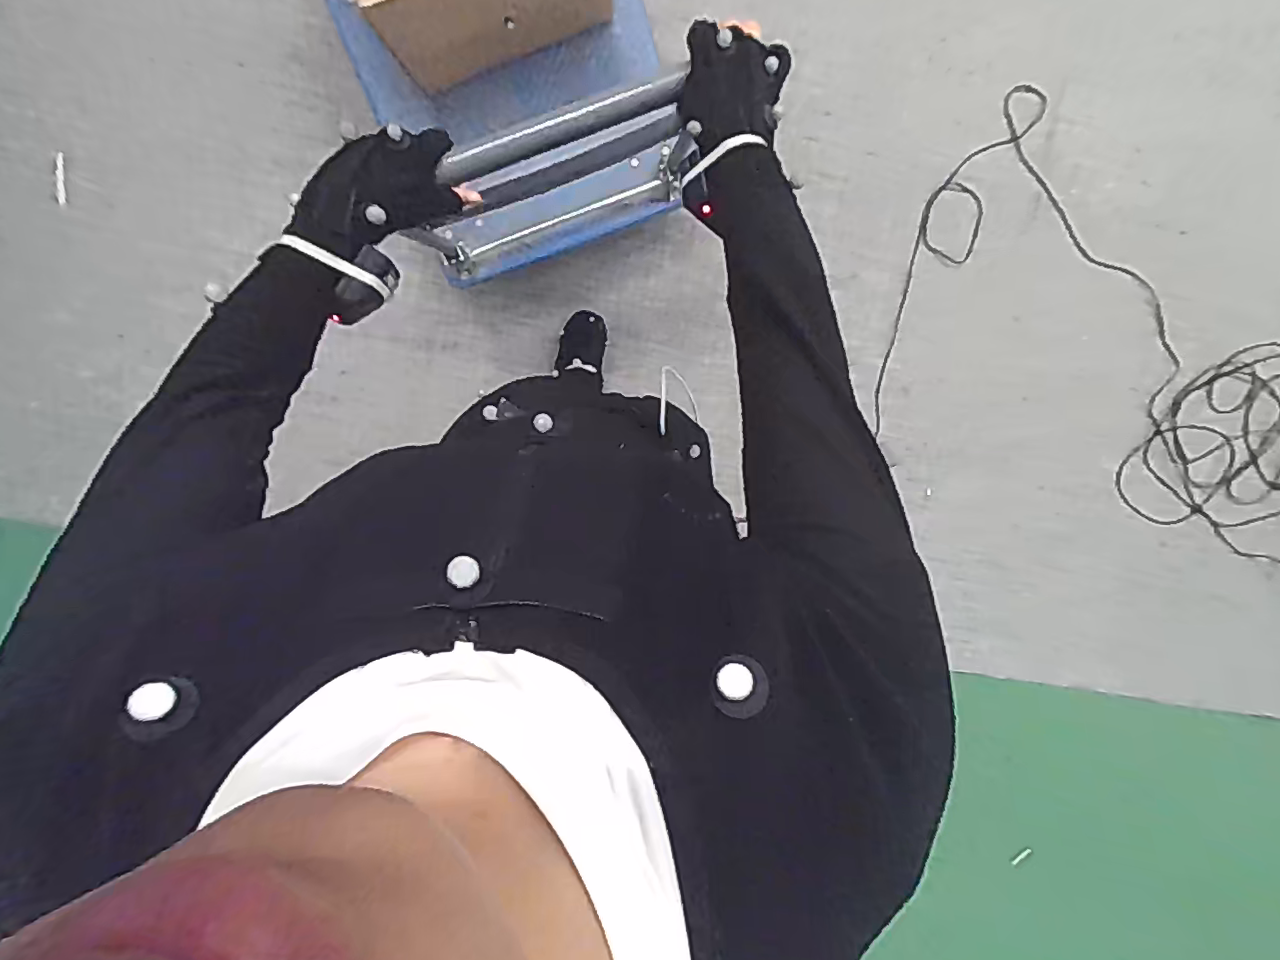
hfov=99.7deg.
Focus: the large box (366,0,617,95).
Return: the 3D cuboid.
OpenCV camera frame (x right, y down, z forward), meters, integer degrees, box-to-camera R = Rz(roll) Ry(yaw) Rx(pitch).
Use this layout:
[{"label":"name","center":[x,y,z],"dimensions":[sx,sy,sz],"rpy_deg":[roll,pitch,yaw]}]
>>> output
[{"label":"large box","center":[-0.277,-0.939,0.896],"dimensions":[0.408,0.320,0.320],"rpy_deg":[-22,105,4]}]
